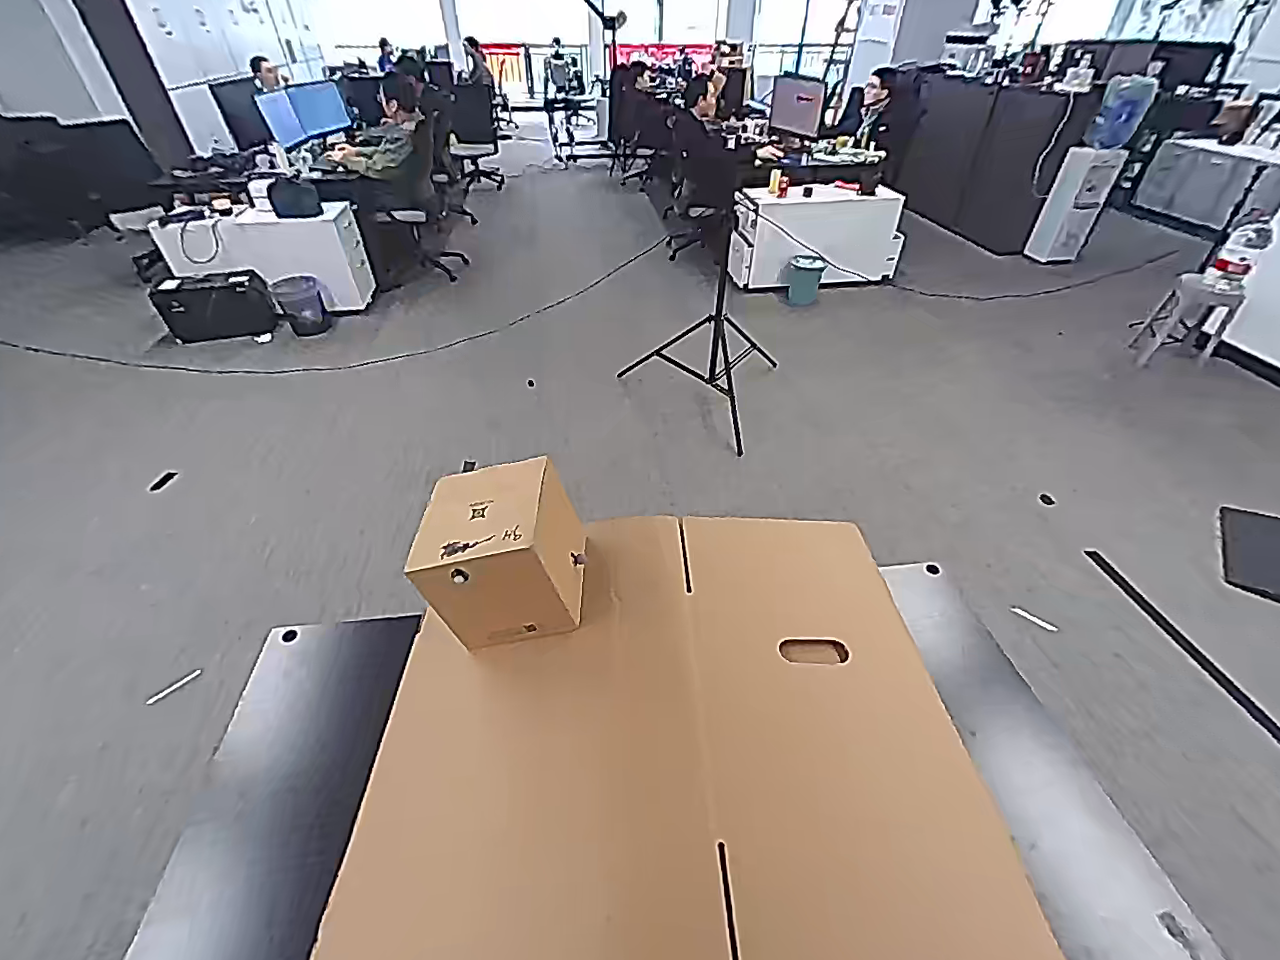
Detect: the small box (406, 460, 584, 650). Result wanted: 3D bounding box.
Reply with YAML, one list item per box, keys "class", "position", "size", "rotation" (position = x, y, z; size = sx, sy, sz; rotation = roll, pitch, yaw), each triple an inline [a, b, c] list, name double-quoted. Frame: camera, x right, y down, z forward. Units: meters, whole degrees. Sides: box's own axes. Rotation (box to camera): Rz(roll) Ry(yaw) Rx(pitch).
- class: "small box"
  position: [-0.181, 0.102, 0.739]
  size: [0.168, 0.176, 0.179]
  rotation: [-13, 38, 8]
